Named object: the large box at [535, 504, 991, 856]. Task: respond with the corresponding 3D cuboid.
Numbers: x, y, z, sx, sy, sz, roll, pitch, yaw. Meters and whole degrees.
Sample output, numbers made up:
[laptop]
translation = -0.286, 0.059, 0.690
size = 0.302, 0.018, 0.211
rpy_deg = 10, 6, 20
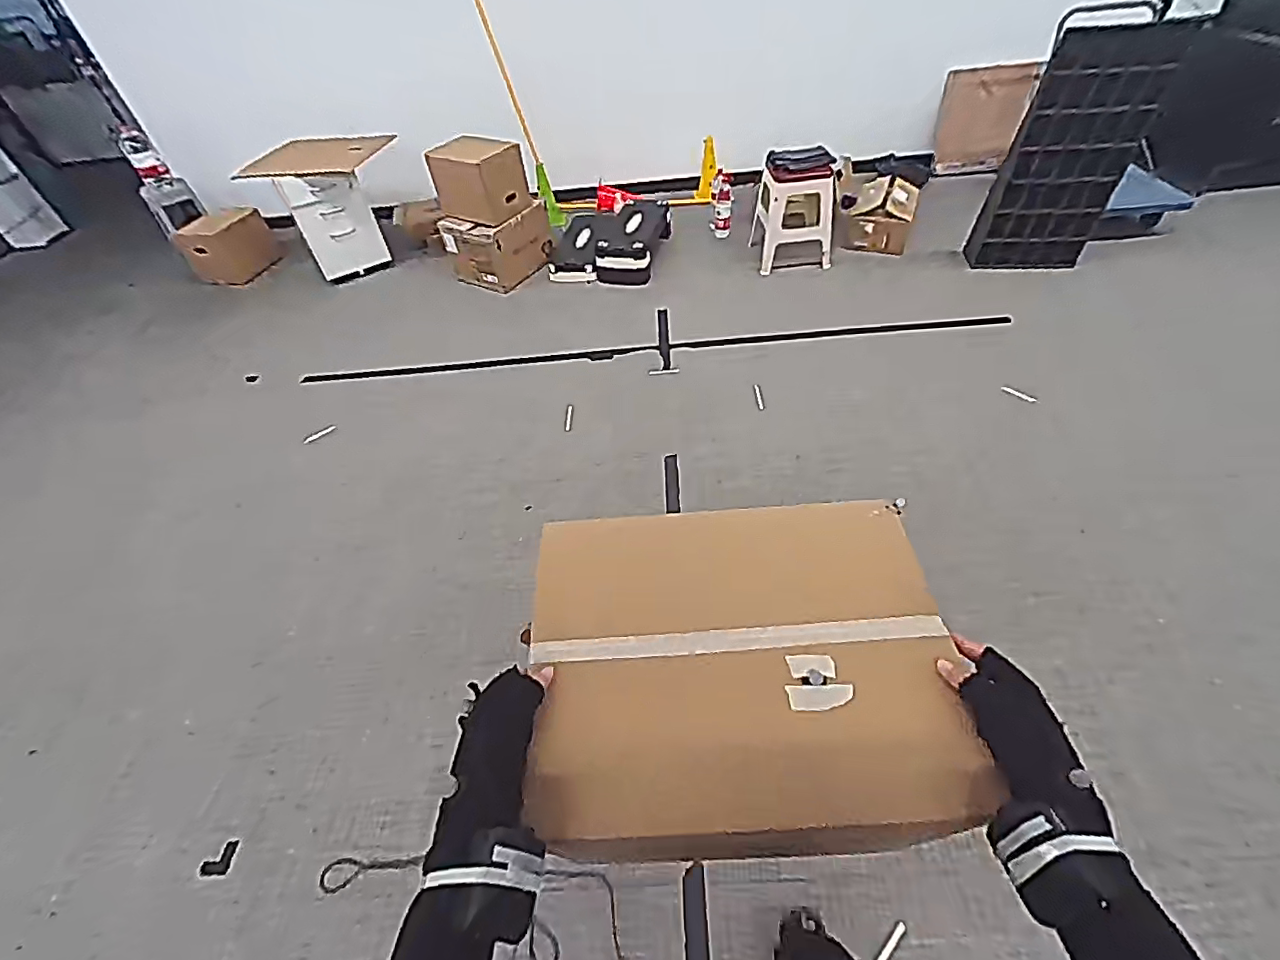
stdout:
[large box]
translation = 0.105, 0.255, 0.670
size = 0.408, 0.320, 0.320
rpy_deg = -4, 52, 1
